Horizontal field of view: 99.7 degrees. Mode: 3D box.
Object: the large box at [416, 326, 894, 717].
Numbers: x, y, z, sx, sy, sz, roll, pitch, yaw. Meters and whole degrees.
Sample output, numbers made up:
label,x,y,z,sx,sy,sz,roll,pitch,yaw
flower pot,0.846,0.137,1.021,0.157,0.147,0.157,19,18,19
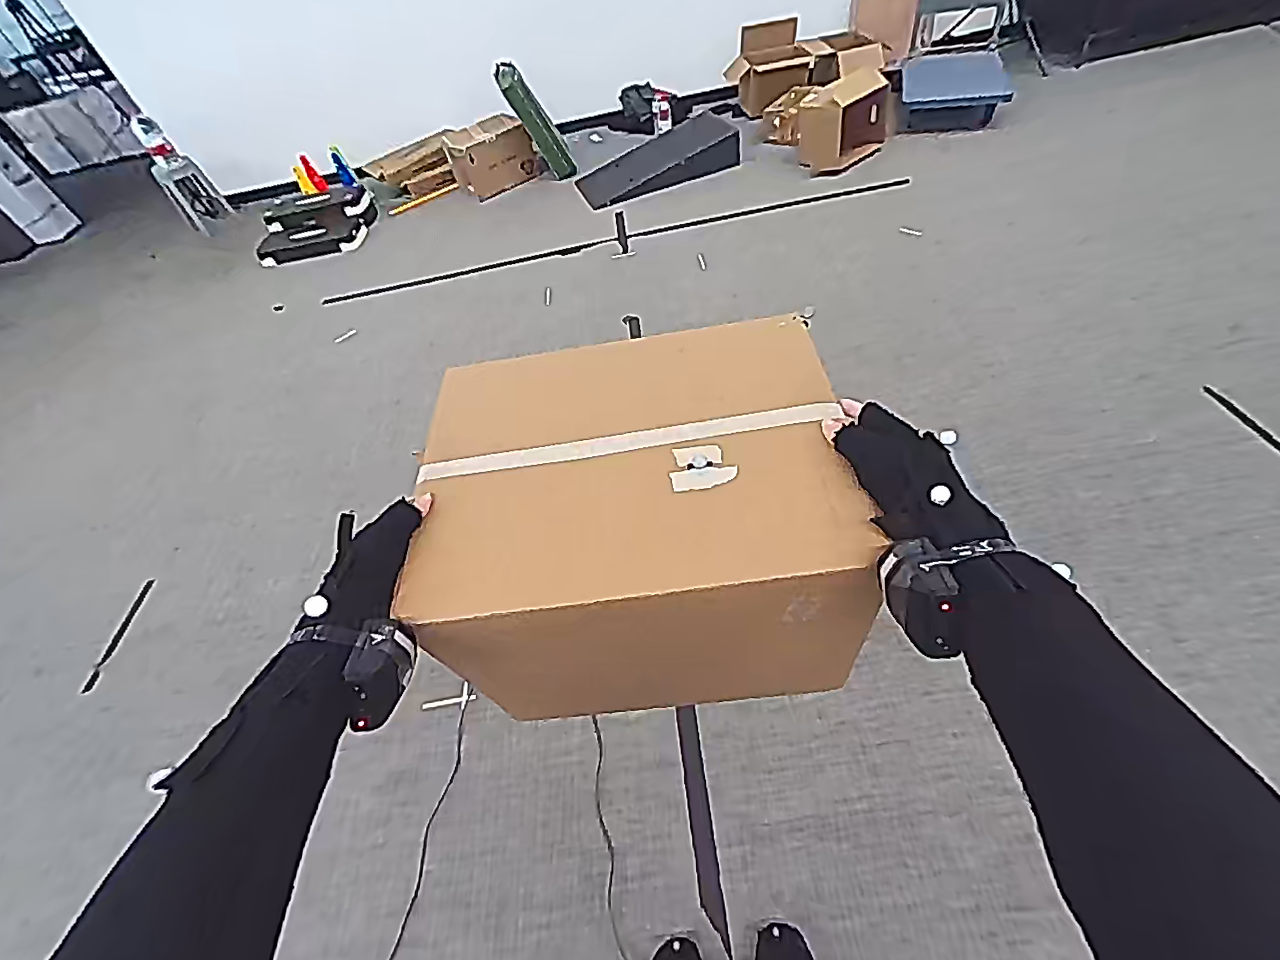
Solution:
label,x,y,z,sx,sy,sz,roll,pitch,yaw
large box,0.015,0.063,0.644,0.408,0.320,0.320,-8,52,4
